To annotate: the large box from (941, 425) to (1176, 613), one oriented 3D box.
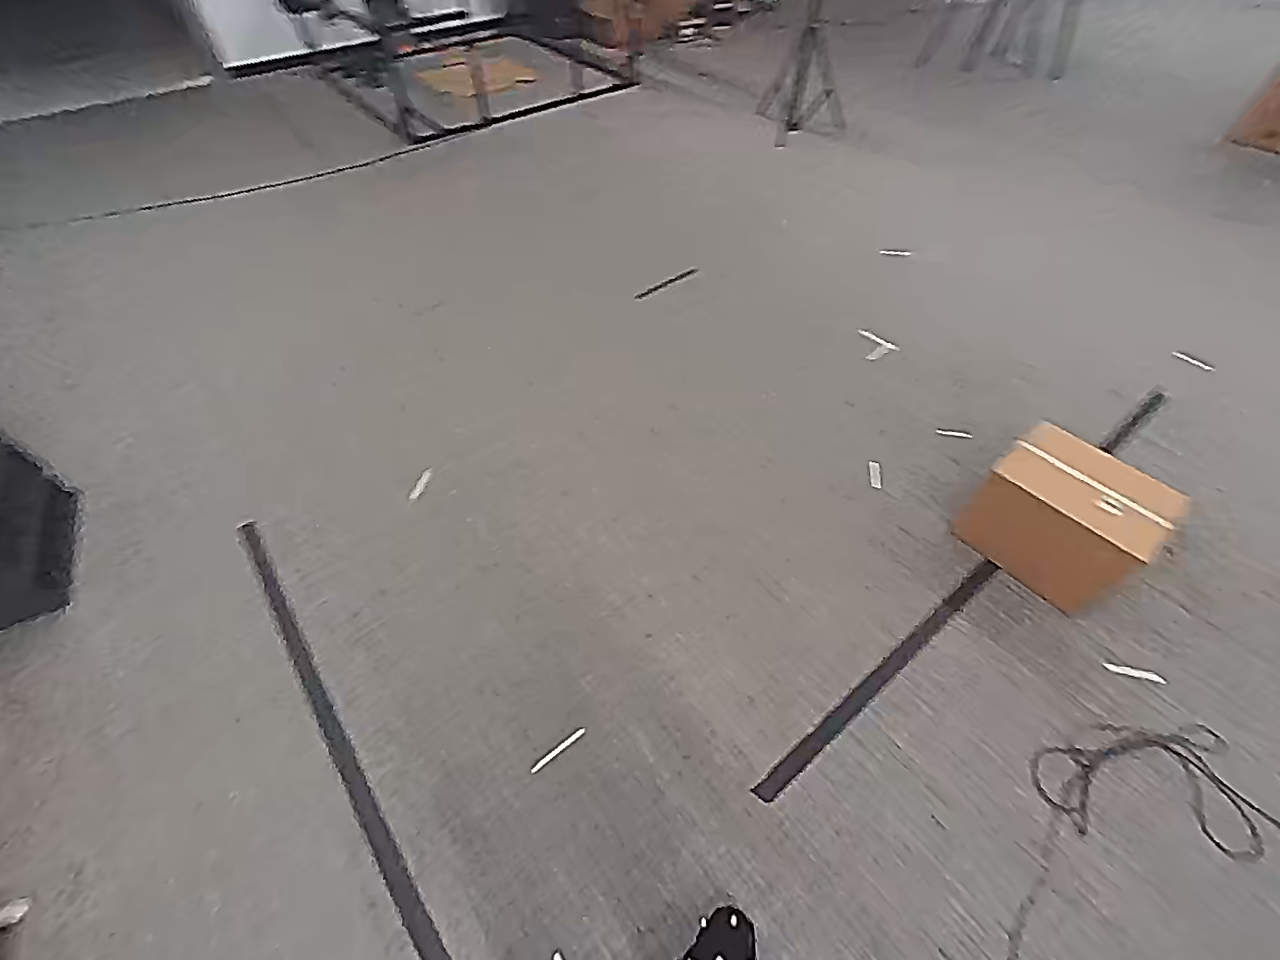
[{"bbox_3d":[1.224,0.112,1.625,0.320,0.320,0.408,-33,59,-23],"label":"large box"}]
